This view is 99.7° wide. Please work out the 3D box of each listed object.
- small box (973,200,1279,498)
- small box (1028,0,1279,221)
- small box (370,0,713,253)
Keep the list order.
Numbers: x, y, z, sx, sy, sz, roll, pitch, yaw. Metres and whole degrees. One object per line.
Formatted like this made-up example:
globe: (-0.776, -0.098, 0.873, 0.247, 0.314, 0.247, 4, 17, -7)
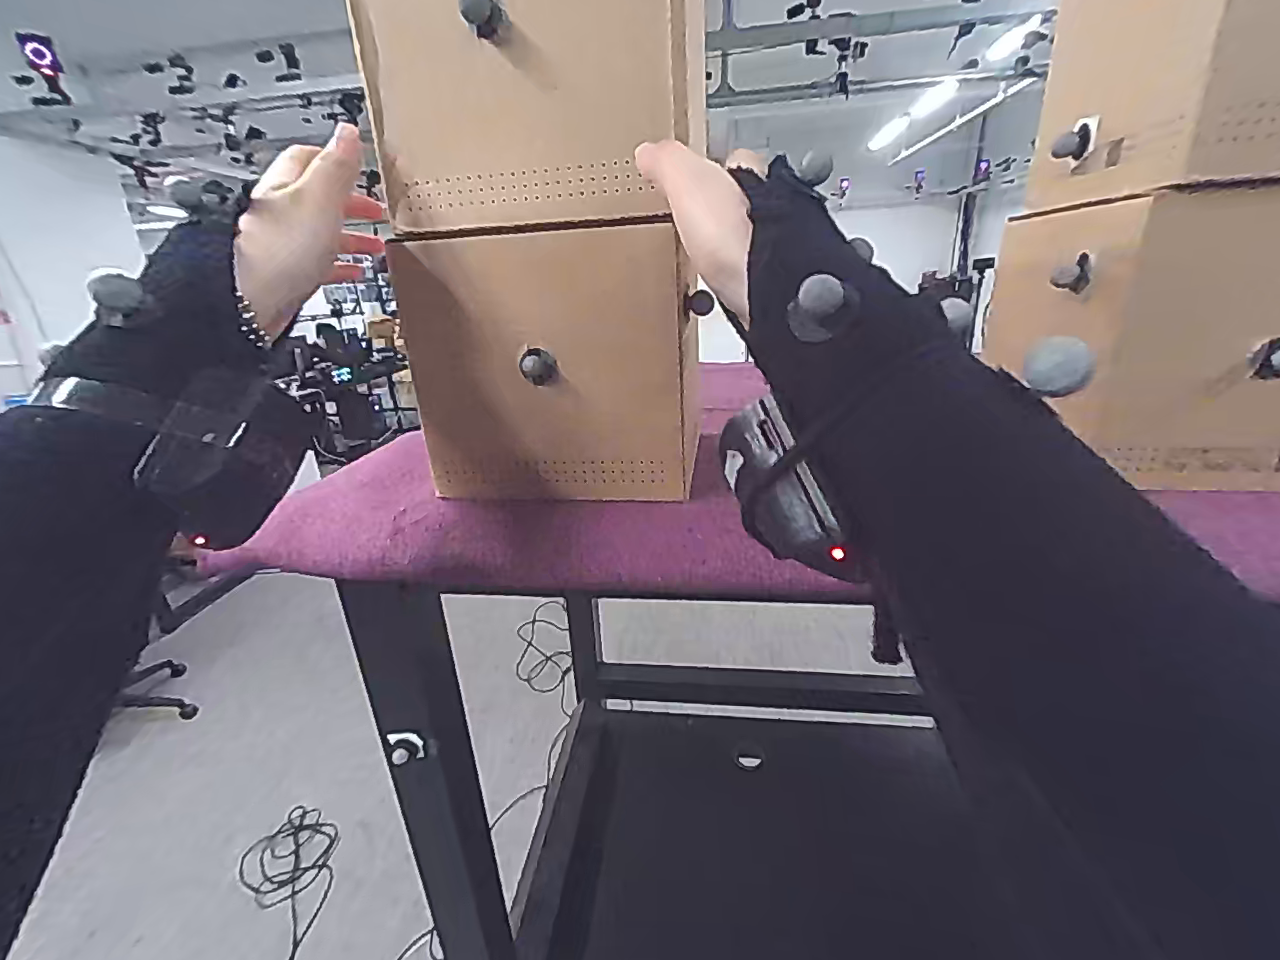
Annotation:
small box: (0.360, -0.094, 0.372, 0.168, 0.176, 0.179, 2, 21, 10)
small box: (0.362, -0.241, 0.302, 0.179, 0.176, 0.168, 0, 20, 10)
small box: (-0.047, -0.240, 0.344, 0.179, 0.176, 0.168, 0, 22, 10)
